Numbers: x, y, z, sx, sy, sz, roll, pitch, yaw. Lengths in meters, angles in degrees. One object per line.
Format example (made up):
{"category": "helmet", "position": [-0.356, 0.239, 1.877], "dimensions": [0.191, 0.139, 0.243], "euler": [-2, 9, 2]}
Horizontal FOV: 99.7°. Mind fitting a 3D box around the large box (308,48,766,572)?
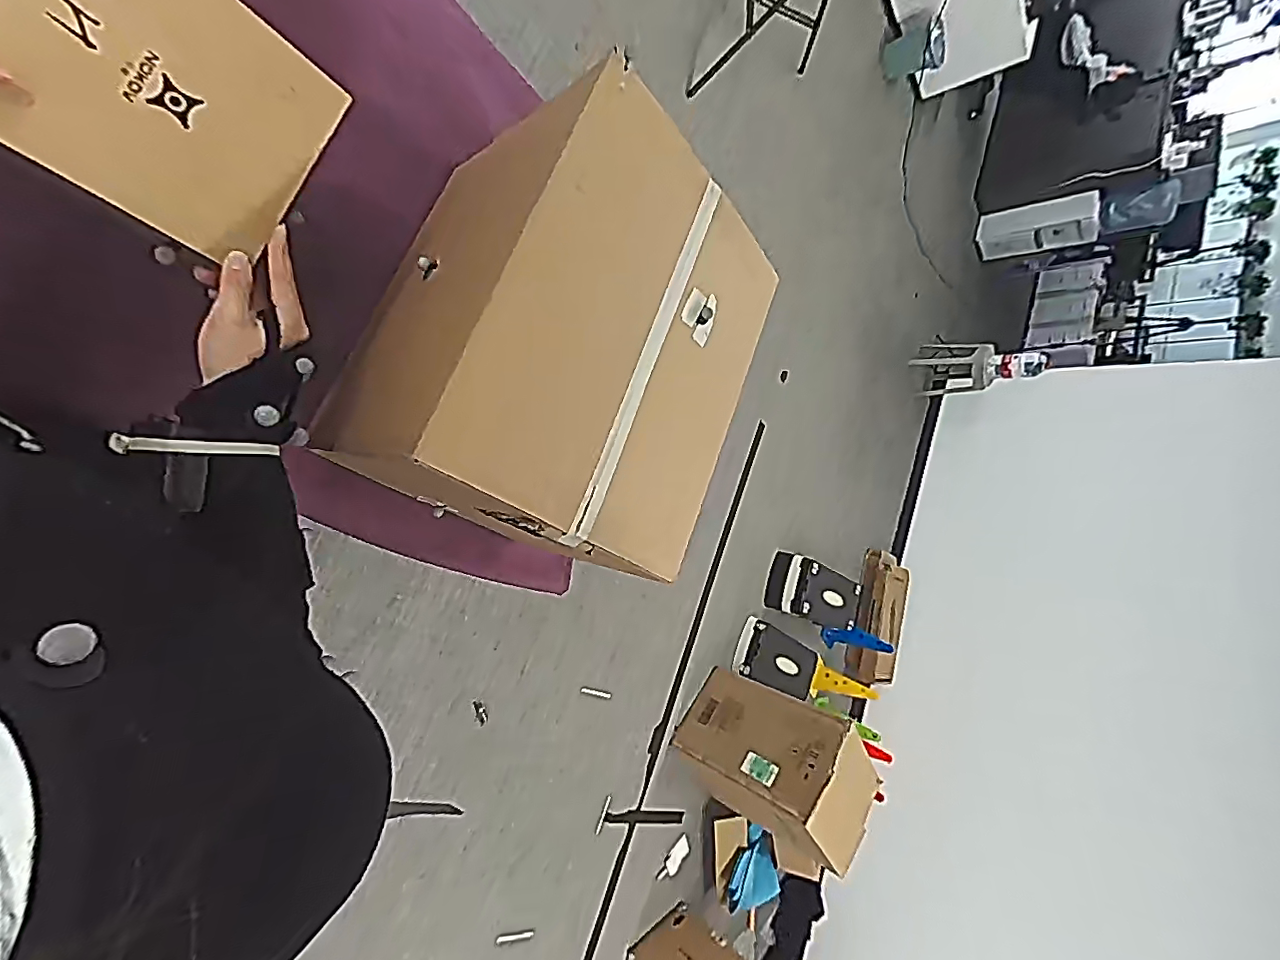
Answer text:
{"category": "large box", "position": [-0.105, -0.146, 0.628], "dimensions": [0.320, 0.320, 0.408], "euler": [34, 70, -43]}
